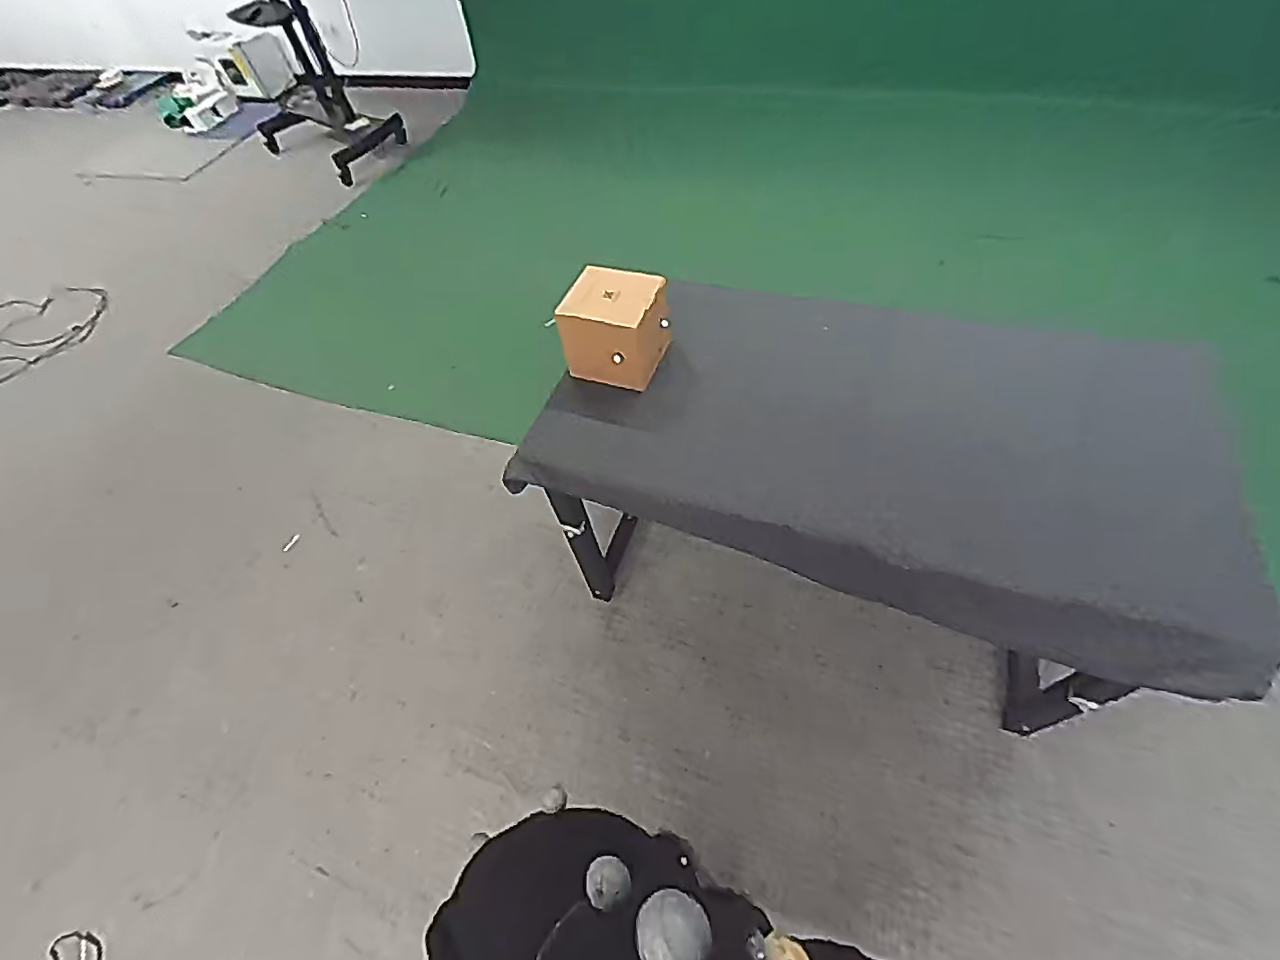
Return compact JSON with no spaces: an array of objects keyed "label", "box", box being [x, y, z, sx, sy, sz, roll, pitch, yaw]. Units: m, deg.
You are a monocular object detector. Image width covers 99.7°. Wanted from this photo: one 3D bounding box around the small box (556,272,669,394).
[{"label":"small box","box":[-0.047,-0.301,1.125,0.179,0.176,0.168,17,56,18]}]
